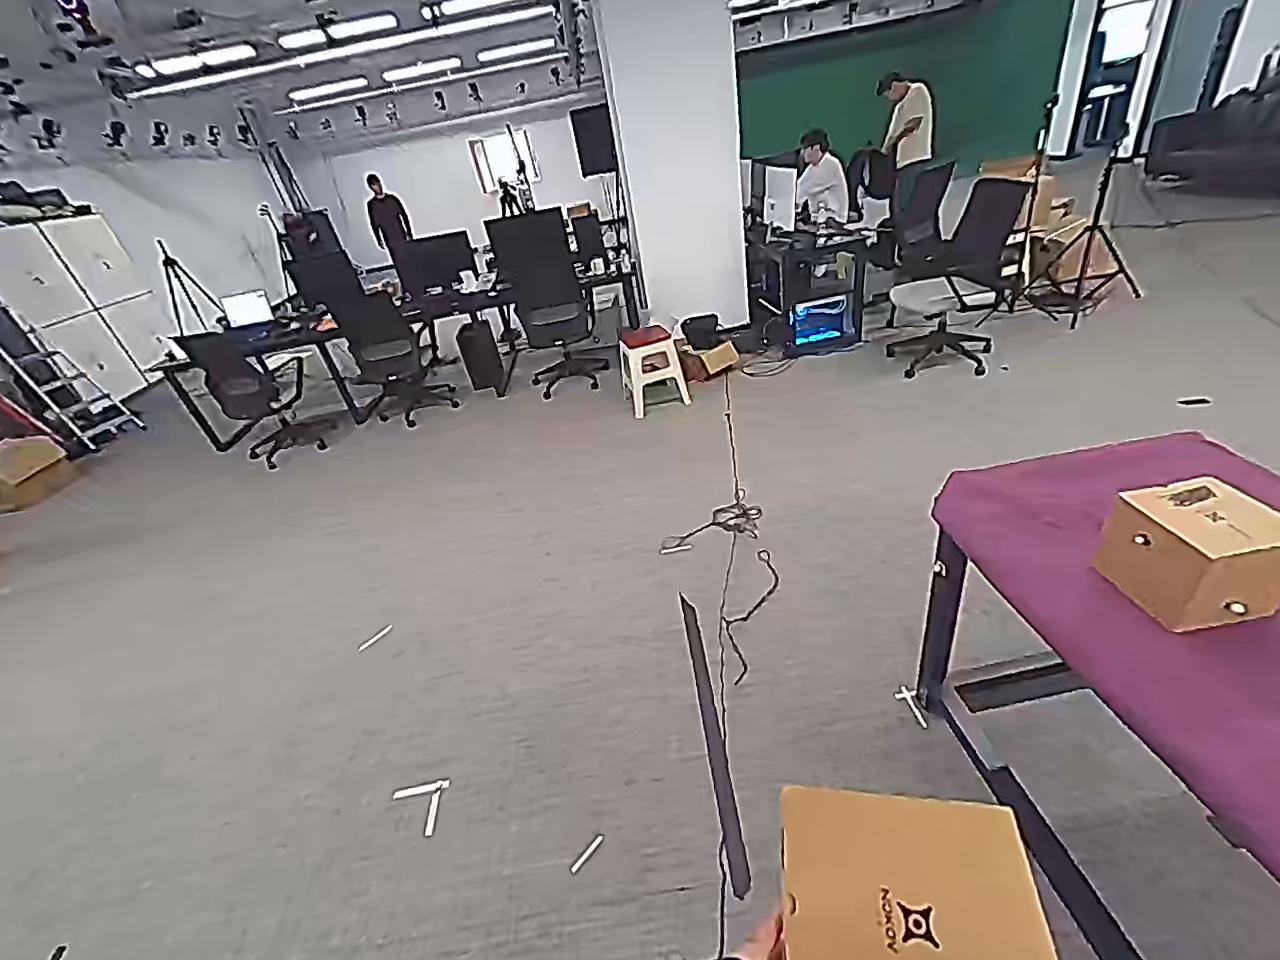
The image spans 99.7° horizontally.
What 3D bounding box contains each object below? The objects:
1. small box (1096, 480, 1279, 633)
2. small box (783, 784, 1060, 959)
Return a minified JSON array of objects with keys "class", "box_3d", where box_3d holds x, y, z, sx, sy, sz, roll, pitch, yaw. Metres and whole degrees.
[{"class":"small box","box_3d":[0.926,0.126,0.907,0.168,0.176,0.179,-11,33,1]},{"class":"small box","box_3d":[0.206,0.368,0.429,0.179,0.176,0.168,-3,41,15]}]
